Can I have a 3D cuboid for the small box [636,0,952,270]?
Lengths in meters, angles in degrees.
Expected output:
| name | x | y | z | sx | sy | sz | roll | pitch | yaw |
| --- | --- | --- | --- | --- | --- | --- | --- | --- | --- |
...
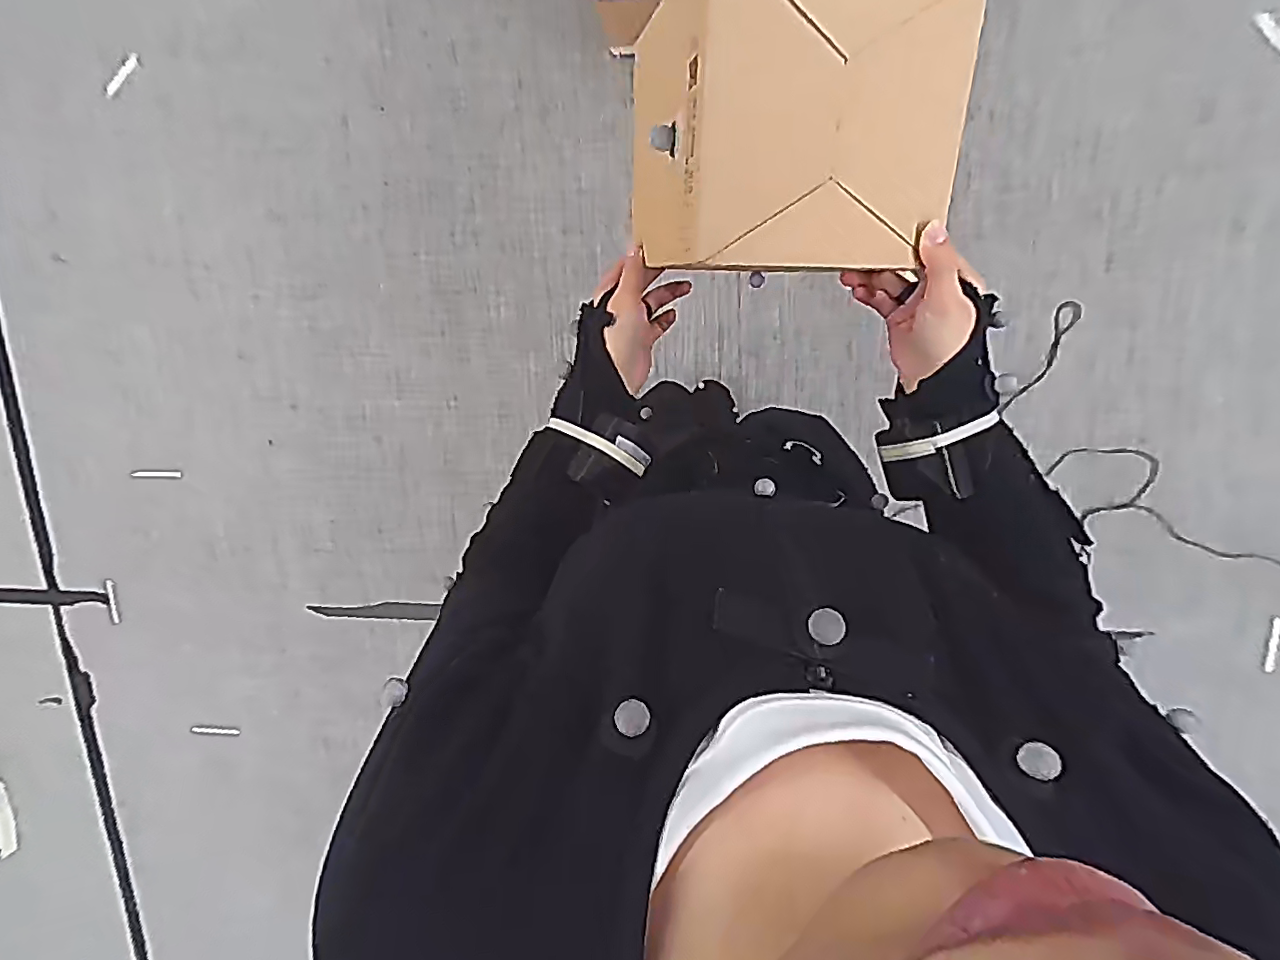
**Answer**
| name | x | y | z | sx | sy | sz | roll | pitch | yaw |
| --- | --- | --- | --- | --- | --- | --- | --- | --- | --- |
| small box | 0.100 | -0.247 | 0.406 | 0.179 | 0.176 | 0.168 | -5 | 110 | -14 |
